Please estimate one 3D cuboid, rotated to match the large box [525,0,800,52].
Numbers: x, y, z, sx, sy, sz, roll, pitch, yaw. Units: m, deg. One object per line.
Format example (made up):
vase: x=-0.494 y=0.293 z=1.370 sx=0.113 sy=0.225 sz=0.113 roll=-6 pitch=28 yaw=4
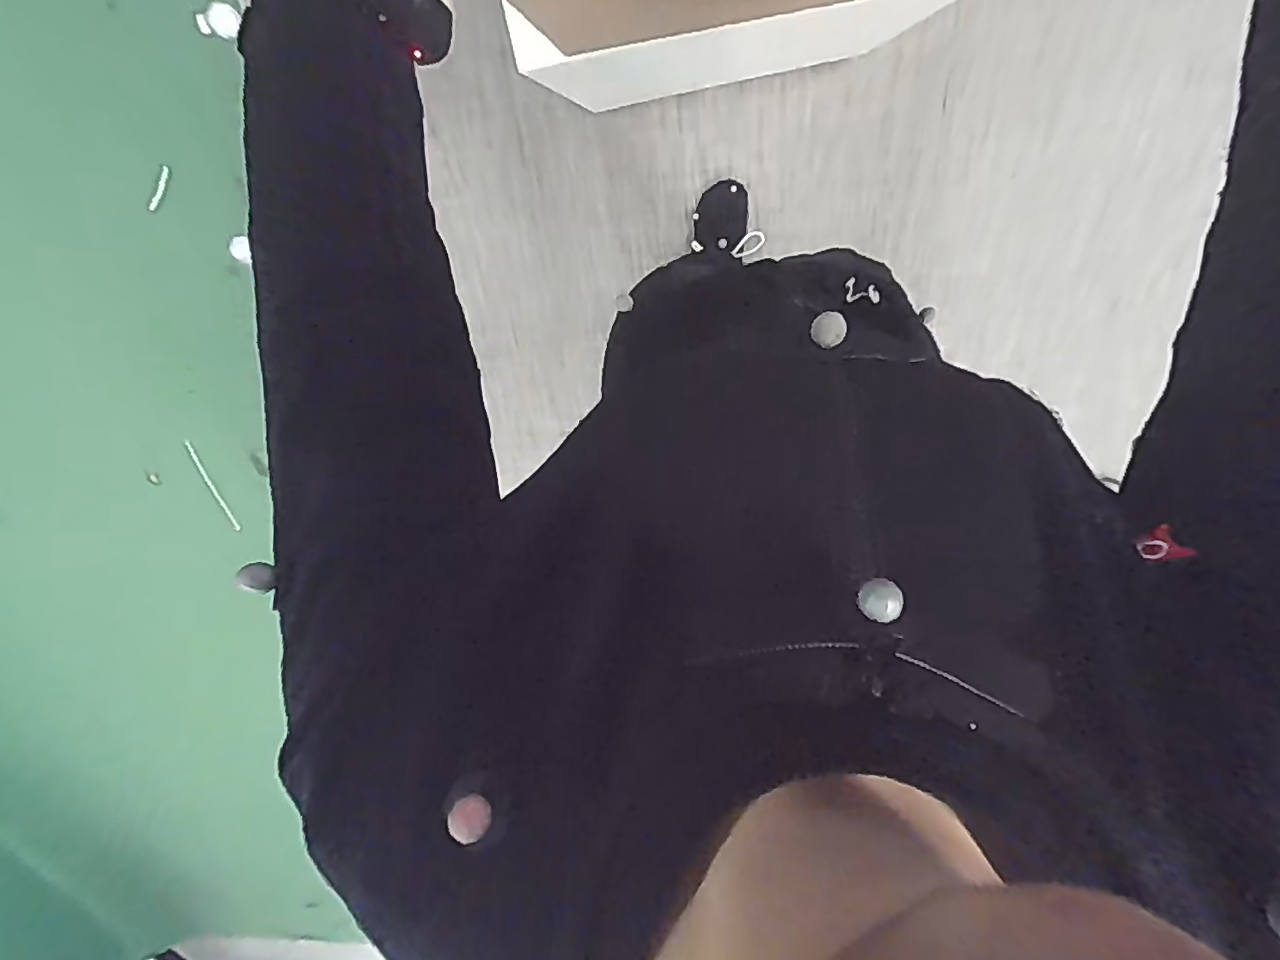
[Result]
large box: x=0.083 y=-0.524 z=0.336 sx=0.408 sy=0.320 sz=0.320 roll=-7 pitch=120 yaw=7
